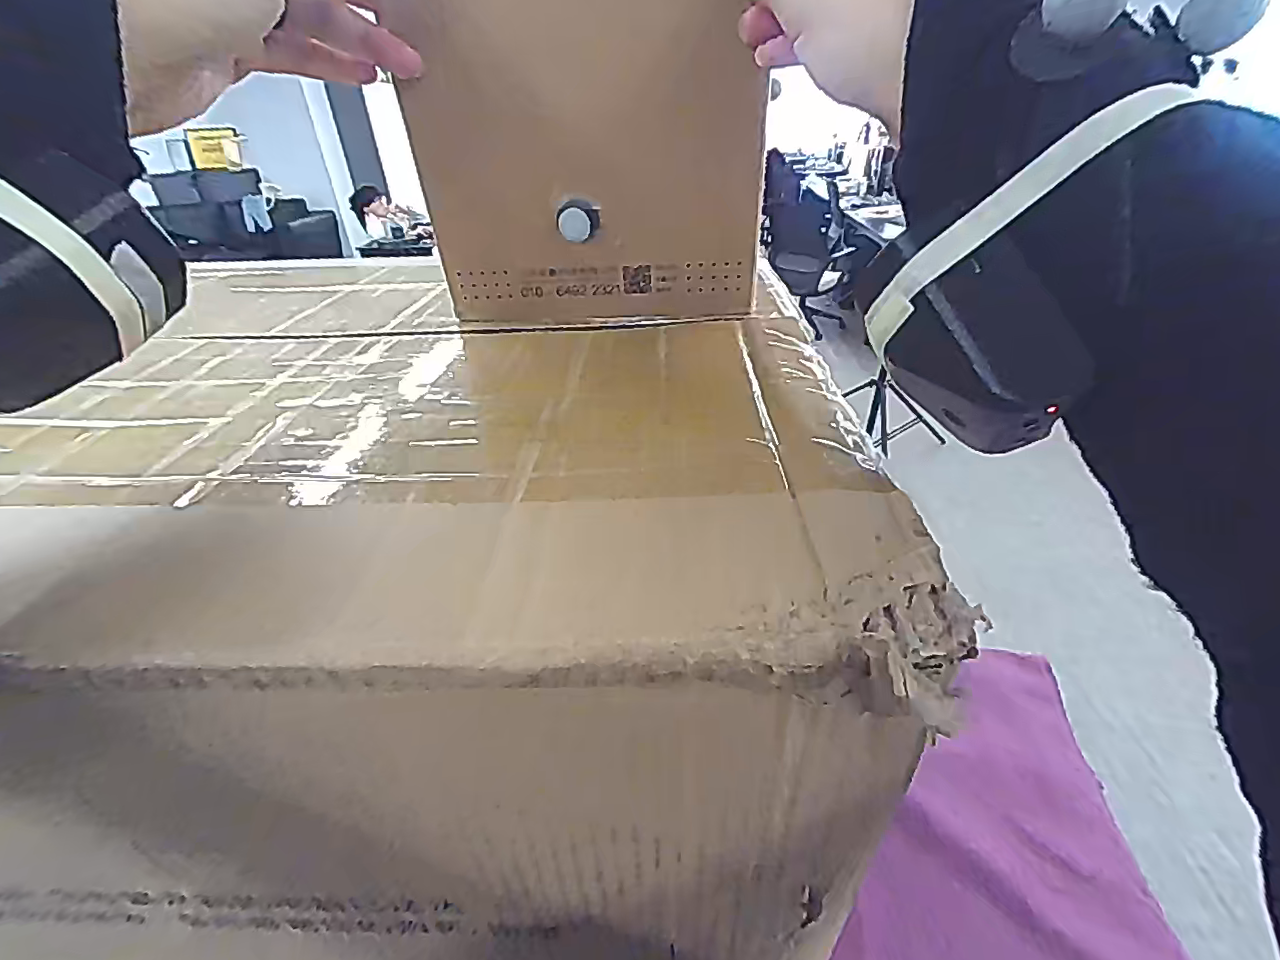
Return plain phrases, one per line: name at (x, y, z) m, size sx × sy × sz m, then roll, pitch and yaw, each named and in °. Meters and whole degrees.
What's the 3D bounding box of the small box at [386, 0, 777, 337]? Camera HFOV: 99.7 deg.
small box at (-0.018, -0.197, 0.319) m, size 0.168 × 0.176 × 0.179 m, roll 0°, pitch 39°, yaw 6°
